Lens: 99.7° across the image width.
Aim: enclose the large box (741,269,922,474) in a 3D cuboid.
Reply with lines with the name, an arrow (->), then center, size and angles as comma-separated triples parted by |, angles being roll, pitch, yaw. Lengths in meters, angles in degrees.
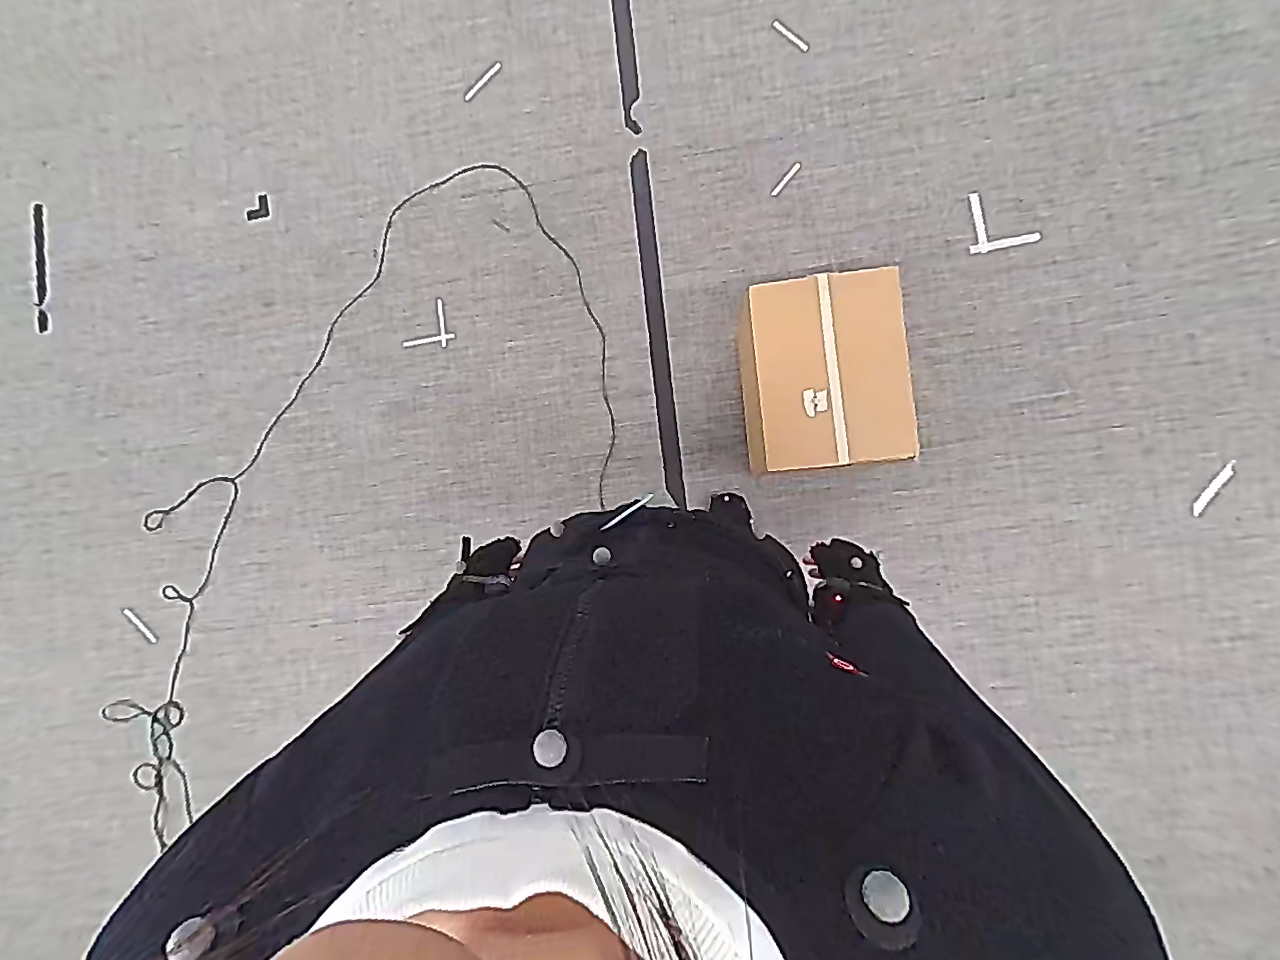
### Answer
large box -> 0.427, -0.230, 1.287 | 0.320, 0.320, 0.408 | -6, 89, 7
